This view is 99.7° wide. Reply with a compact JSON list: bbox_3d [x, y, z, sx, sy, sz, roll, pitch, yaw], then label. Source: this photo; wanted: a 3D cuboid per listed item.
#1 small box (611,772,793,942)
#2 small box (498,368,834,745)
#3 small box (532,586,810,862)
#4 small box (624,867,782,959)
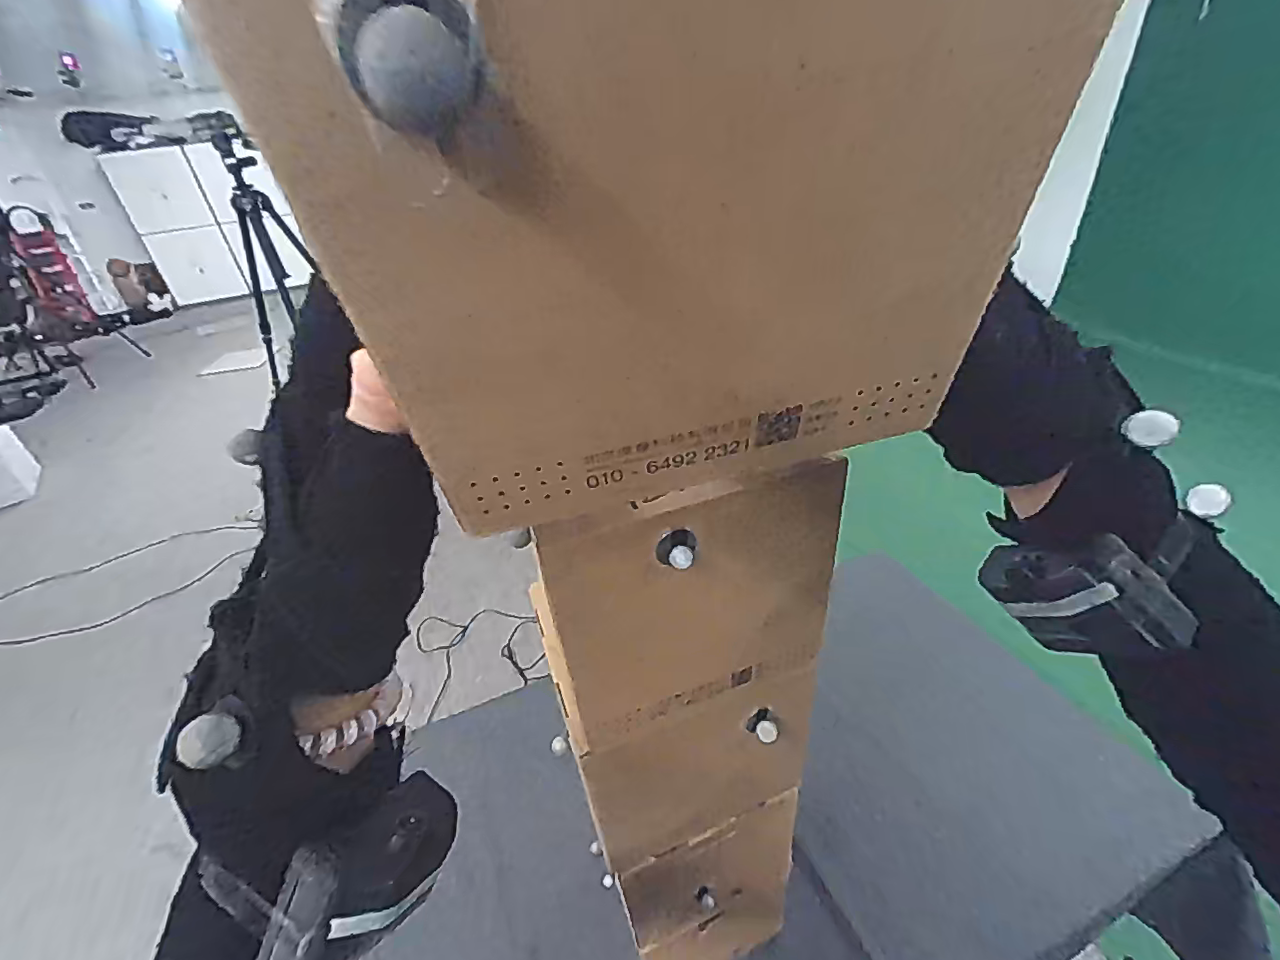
[{"bbox_3d":[0.036,0.315,0.558,0.168,0.176,0.179,-17,35,-15],"label":"small box"},{"bbox_3d":[0.008,0.041,0.379,0.168,0.176,0.179,-16,34,-13],"label":"small box"},{"bbox_3d":[0.021,0.179,0.467,0.179,0.176,0.168,-17,34,-14],"label":"small box"},{"bbox_3d":[0.053,0.449,0.647,0.168,0.176,0.179,-18,34,-15],"label":"small box"}]
